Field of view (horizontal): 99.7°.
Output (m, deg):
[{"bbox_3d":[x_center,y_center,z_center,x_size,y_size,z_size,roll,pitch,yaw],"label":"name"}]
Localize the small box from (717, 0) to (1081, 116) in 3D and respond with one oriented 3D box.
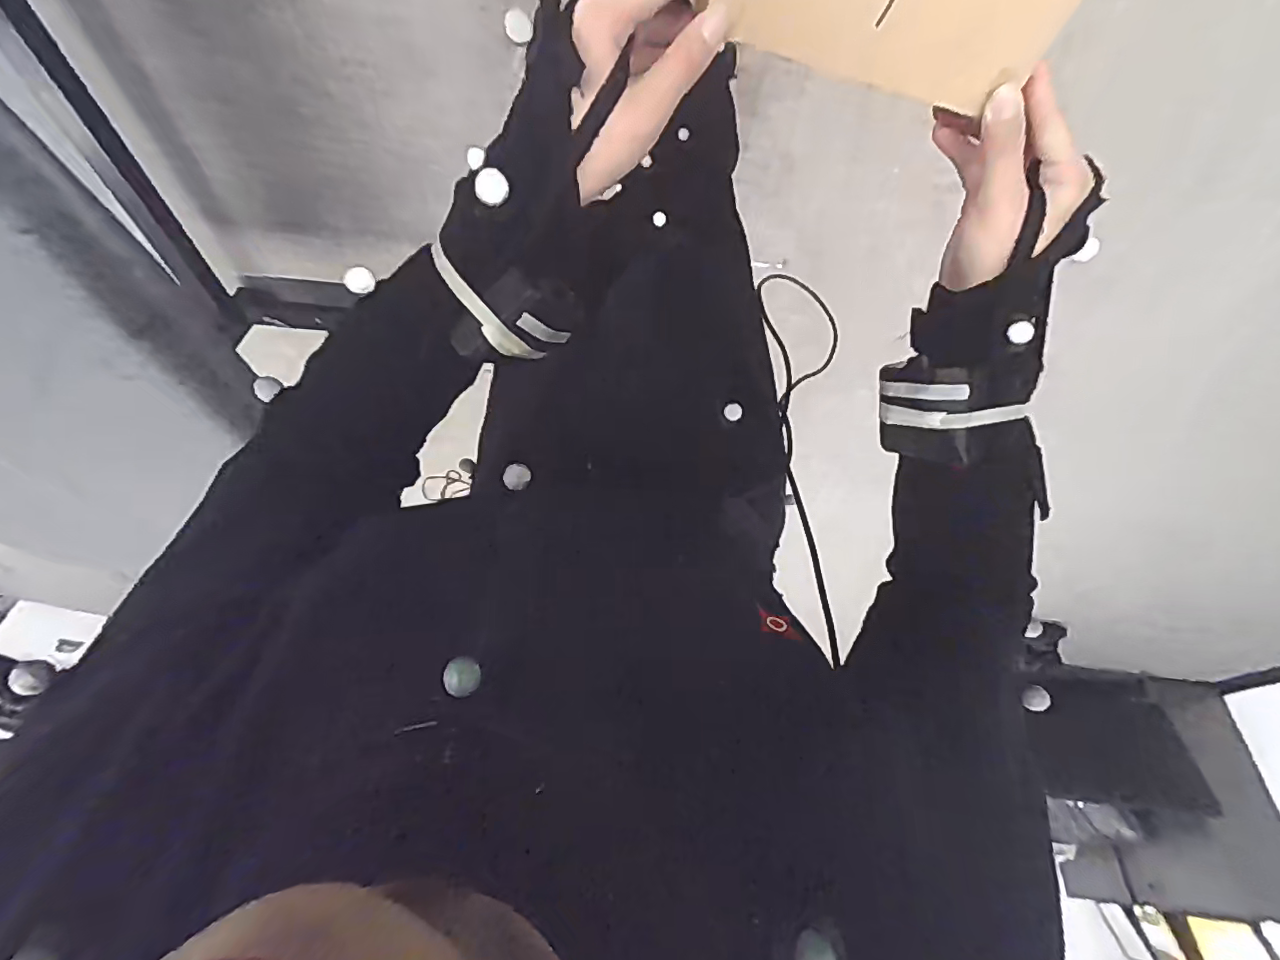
[{"bbox_3d":[0.131,-0.318,0.258,0.168,0.176,0.179,9,139,-10],"label":"small box"}]
